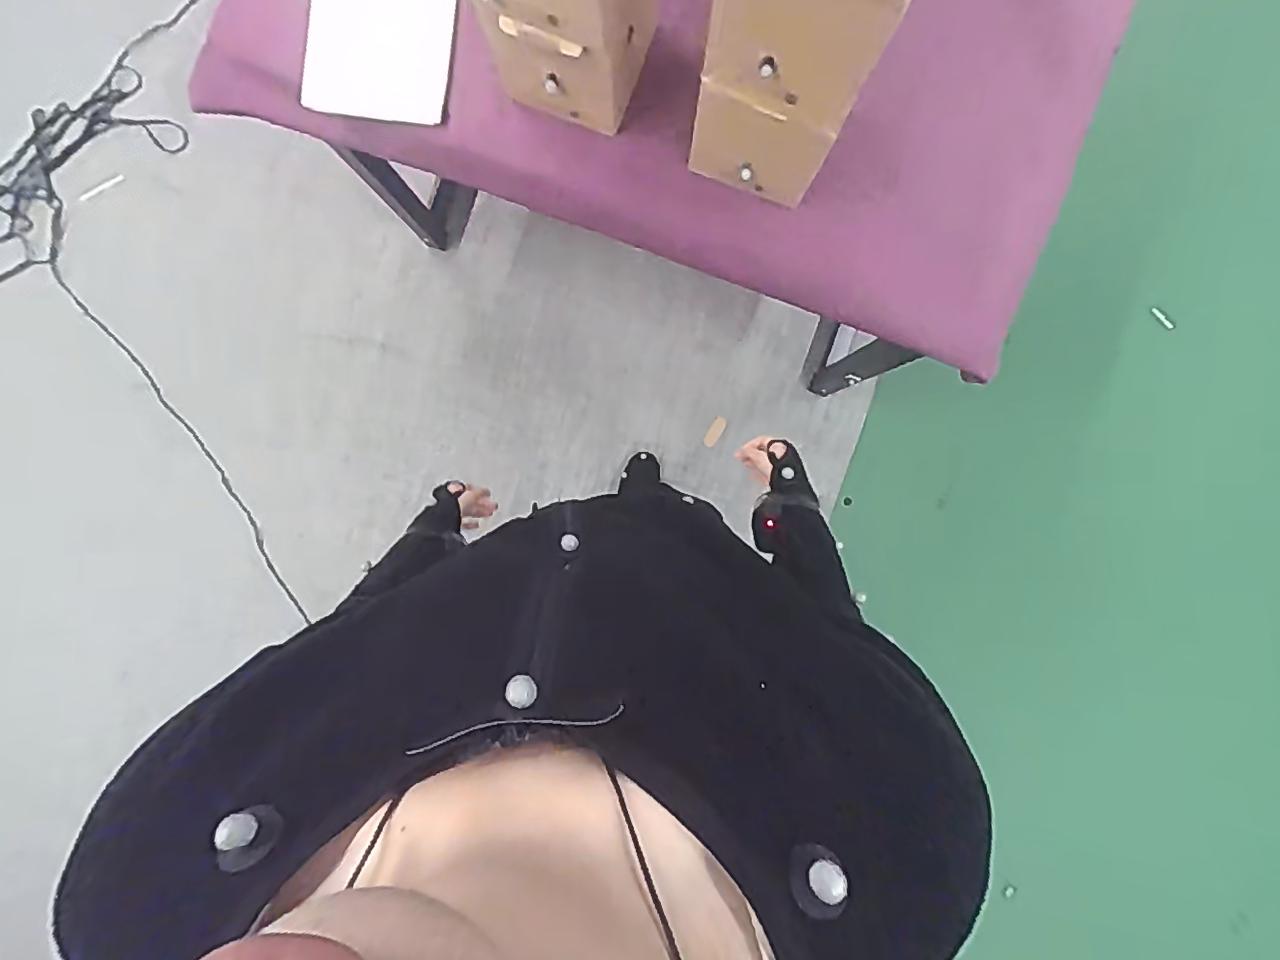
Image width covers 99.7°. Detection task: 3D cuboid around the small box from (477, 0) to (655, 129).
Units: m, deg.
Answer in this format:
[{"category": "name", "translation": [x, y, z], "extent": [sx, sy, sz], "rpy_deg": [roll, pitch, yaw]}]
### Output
[{"category": "small box", "translation": [-0.080, -0.599, 0.691], "extent": [0.168, 0.176, 0.179], "rpy_deg": [21, 92, -1]}]

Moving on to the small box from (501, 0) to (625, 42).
[{"category": "small box", "translation": [-0.082, -0.590, 0.527], "extent": [0.168, 0.176, 0.179], "rpy_deg": [21, 90, -1]}]

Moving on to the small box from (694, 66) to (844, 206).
[{"category": "small box", "translation": [0.176, -0.497, 0.692], "extent": [0.168, 0.176, 0.179], "rpy_deg": [21, 90, 1]}]

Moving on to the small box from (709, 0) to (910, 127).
[{"category": "small box", "translation": [0.177, -0.502, 0.530], "extent": [0.168, 0.176, 0.179], "rpy_deg": [21, 90, -1]}]
